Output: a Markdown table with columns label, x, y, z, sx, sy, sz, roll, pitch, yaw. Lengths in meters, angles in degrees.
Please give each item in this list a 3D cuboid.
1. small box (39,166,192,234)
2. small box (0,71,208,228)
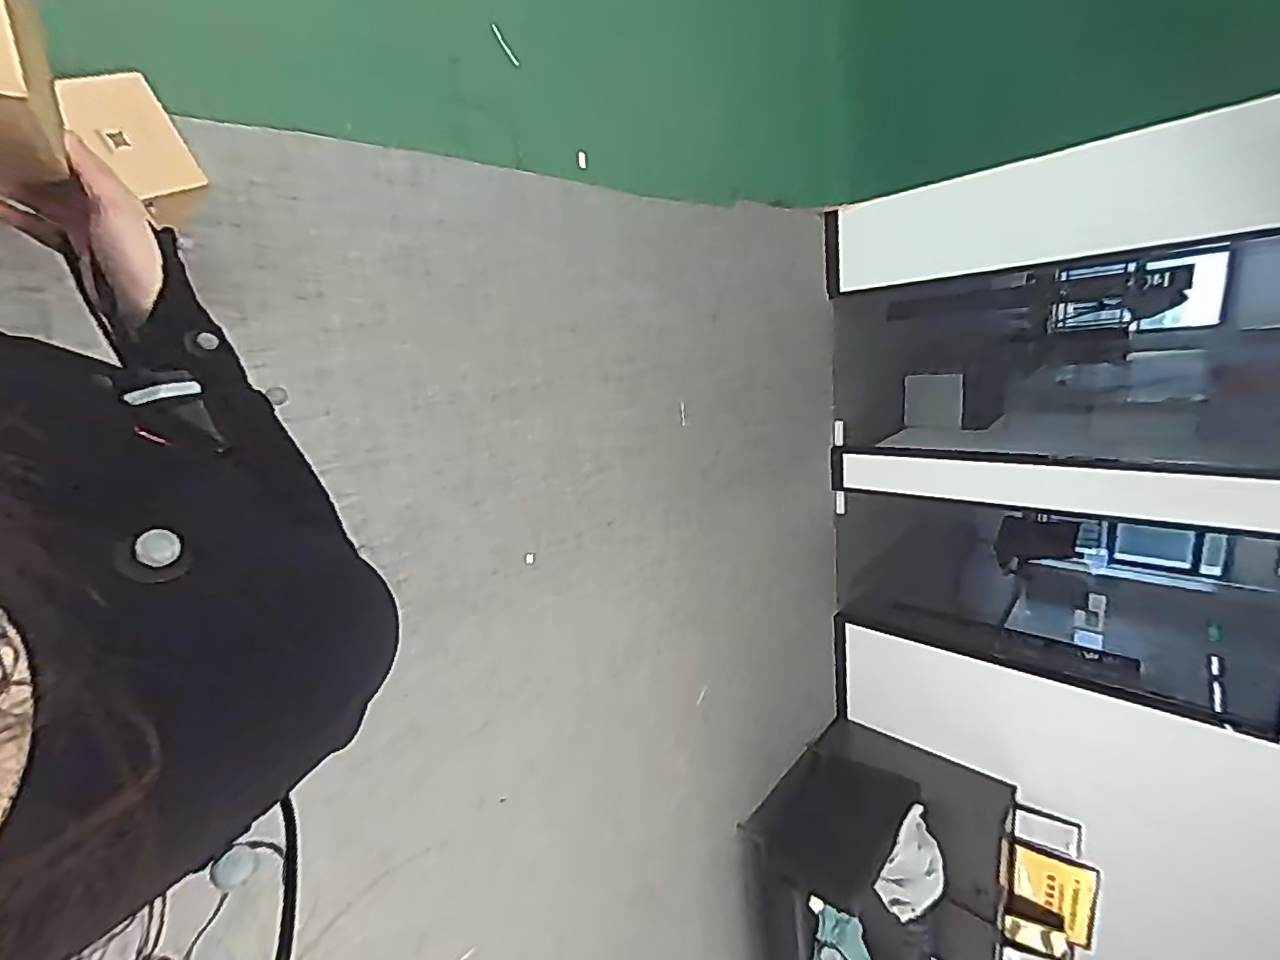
| label | x | y | z | sx | sy | sz | roll | pitch | yaw |
| --- | --- | --- | --- | --- | --- | --- | --- | --- | --- |
| small box | -0.977 | -0.561 | 0.998 | 0.179 | 0.176 | 0.168 | -29 | 117 | -41 |
| small box | -0.865 | -0.531 | 0.884 | 0.179 | 0.176 | 0.168 | -43 | 126 | -34 |
